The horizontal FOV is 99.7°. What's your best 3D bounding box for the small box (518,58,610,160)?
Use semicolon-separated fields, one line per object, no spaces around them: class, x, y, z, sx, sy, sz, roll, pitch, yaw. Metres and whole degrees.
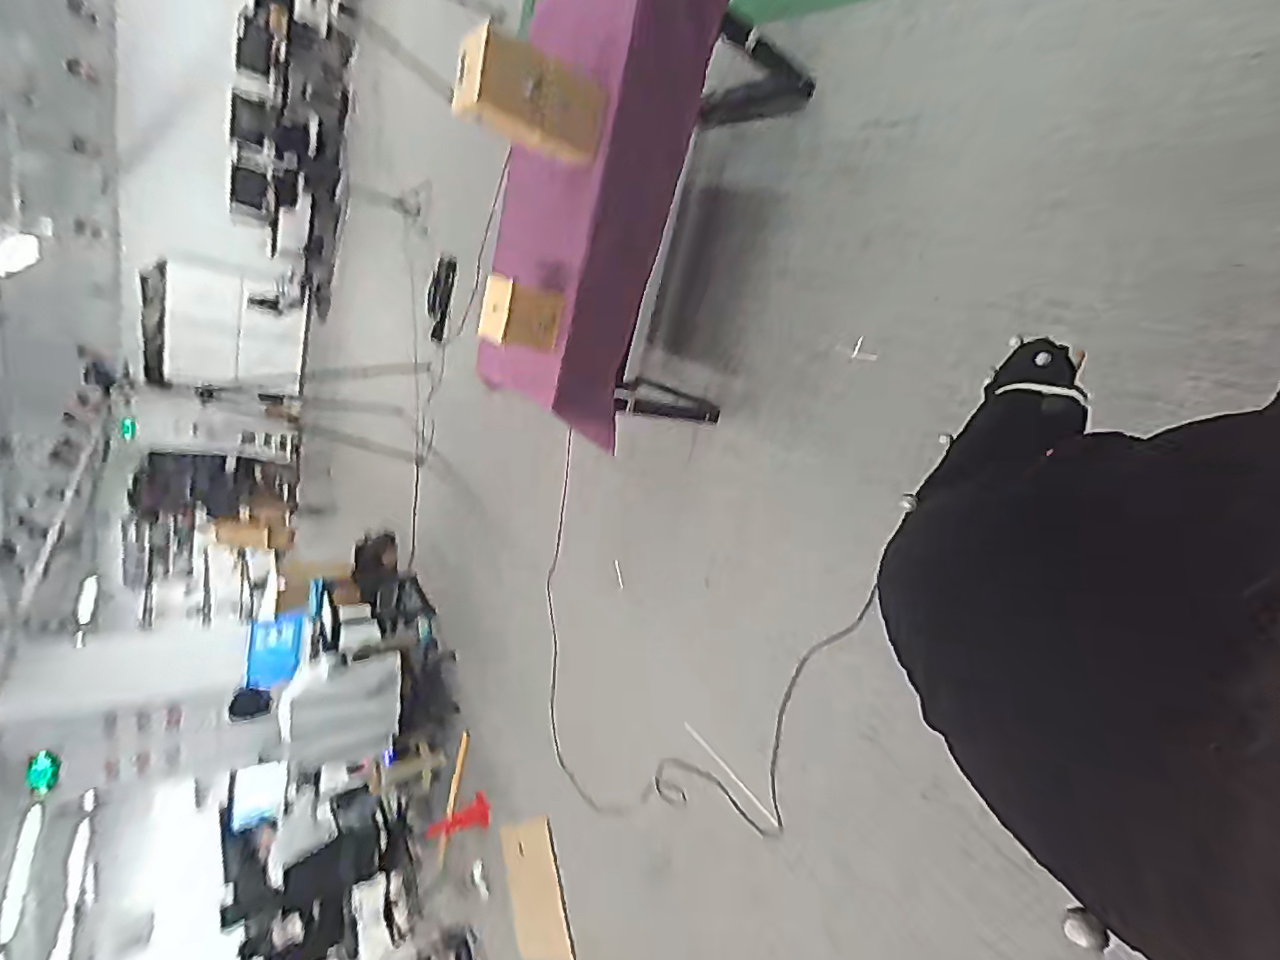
small box;-0.201;-0.971;1.437;0.168;0.176;0.179;34;113;45

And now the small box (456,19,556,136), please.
small box;-0.332;-0.980;1.338;0.179;0.176;0.168;30;111;46

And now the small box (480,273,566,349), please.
small box;-0.344;-0.491;1.584;0.179;0.176;0.168;33;112;45
